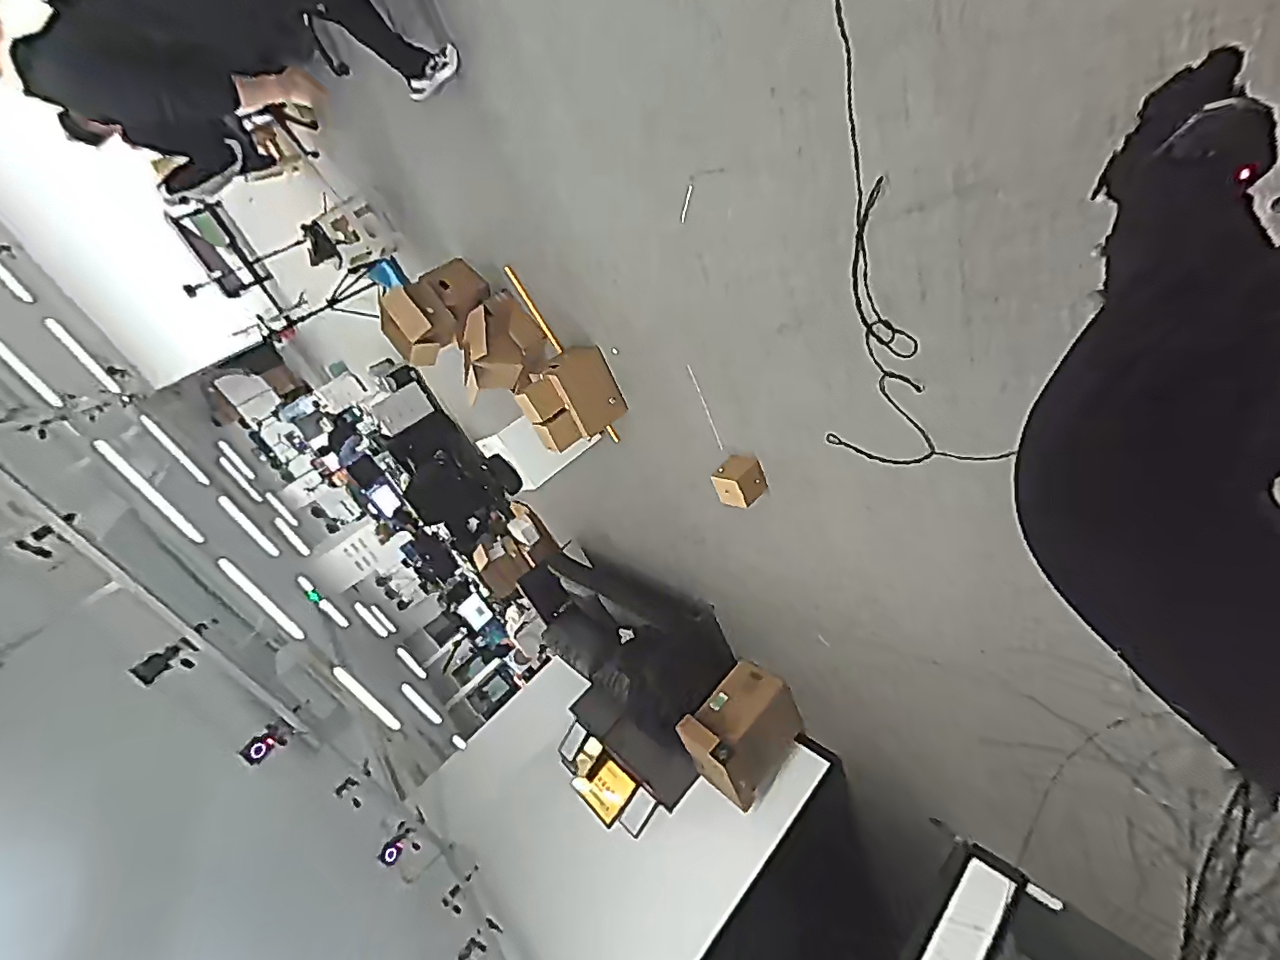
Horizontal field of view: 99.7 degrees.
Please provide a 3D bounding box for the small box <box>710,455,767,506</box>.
[{"bbox_3d":[0.470,-0.005,2.575,0.179,0.176,0.168,13,138,52],"label":"small box"}]
